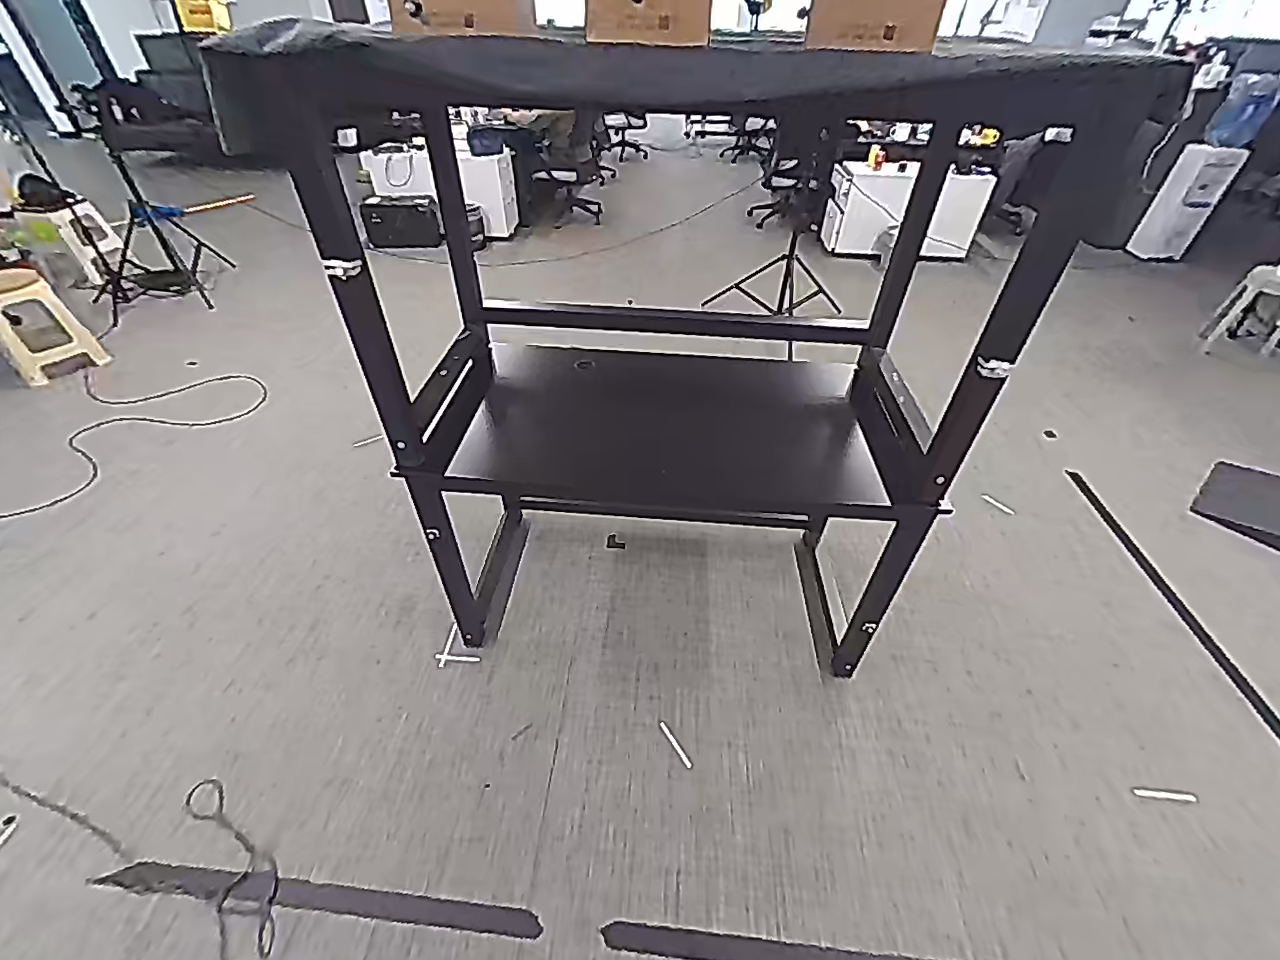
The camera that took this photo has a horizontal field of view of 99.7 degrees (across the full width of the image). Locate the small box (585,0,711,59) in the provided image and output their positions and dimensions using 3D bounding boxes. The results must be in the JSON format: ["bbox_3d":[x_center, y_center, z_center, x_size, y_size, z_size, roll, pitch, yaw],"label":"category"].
[{"bbox_3d":[0.015,-0.683,0.730,0.168,0.176,0.179,3,40,2],"label":"small box"}]

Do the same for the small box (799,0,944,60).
[{"bbox_3d":[0.313,-0.669,0.719,0.168,0.176,0.179,9,41,9],"label":"small box"}]

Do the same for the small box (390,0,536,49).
[{"bbox_3d":[-0.240,-0.694,0.732,0.168,0.176,0.179,3,39,0],"label":"small box"}]
